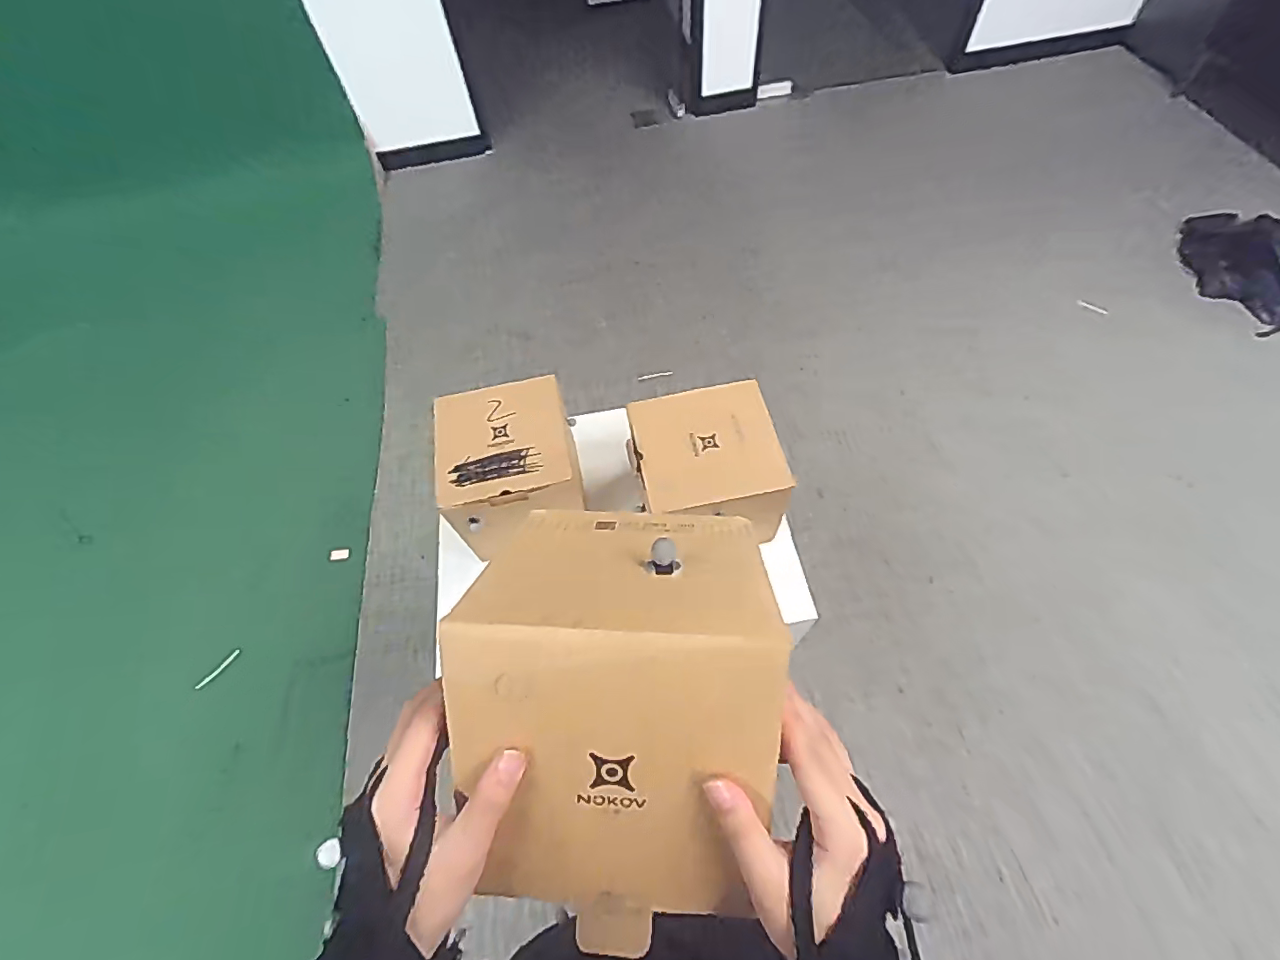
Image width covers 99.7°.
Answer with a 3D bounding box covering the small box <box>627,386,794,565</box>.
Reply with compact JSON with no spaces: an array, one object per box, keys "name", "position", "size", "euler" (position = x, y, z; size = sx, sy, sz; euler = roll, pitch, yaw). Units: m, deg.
[{"name":"small box","position":[0.087,0.002,0.732],"size":[0.179,0.176,0.168],"euler":[-11,61,-3]}]
